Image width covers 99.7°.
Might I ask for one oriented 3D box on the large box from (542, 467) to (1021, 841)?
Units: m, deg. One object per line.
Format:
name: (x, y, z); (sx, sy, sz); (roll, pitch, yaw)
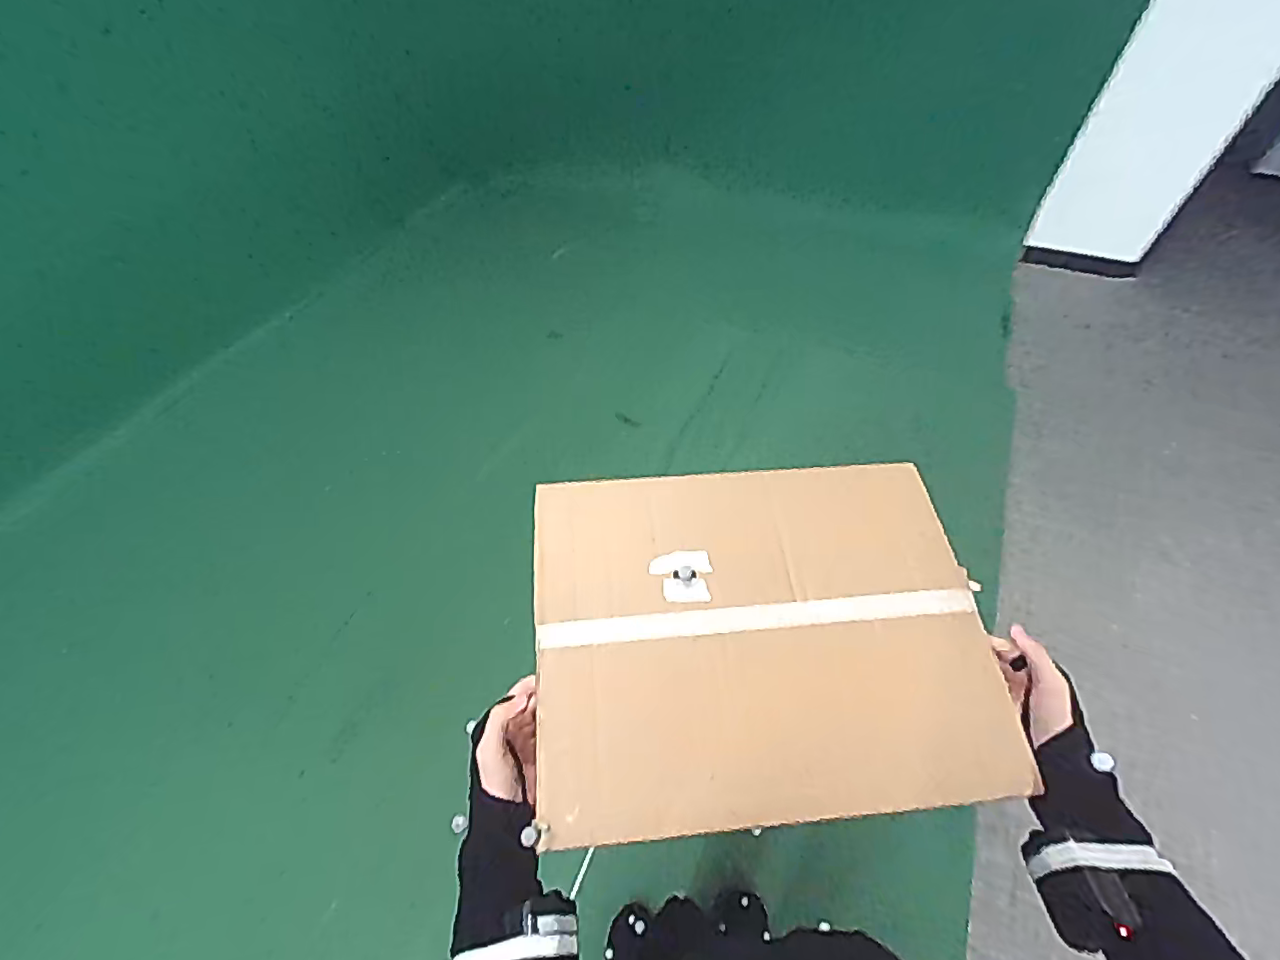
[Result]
large box: (0.107, 0.204, 0.636); (0.408, 0.320, 0.320); (-4, 61, -4)
